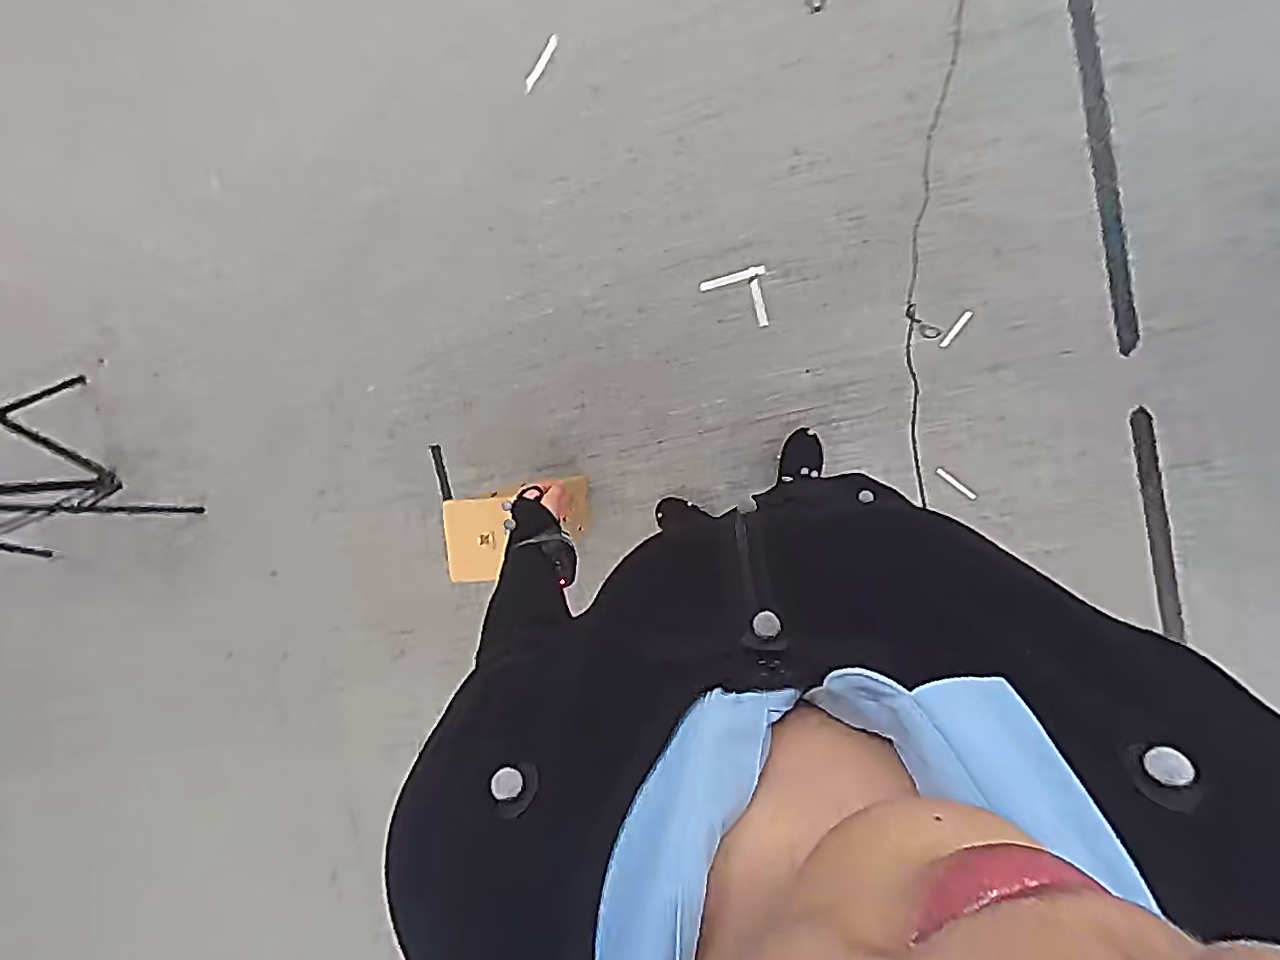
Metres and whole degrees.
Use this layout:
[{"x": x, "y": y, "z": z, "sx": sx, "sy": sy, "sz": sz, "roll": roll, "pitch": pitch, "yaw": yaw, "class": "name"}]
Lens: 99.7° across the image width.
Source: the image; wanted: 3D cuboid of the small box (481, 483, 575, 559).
[{"x": -0.261, "y": 0.098, "z": 1.305, "sx": 0.179, "sy": 0.176, "sz": 0.168, "roll": -5, "pitch": 93, "yaw": 8, "class": "small box"}]

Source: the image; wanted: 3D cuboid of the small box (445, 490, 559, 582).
[{"x": -0.285, "y": 0.114, "z": 1.145, "sx": 0.179, "sy": 0.176, "sz": 0.168, "roll": -5, "pitch": 94, "yaw": 8, "class": "small box"}]
